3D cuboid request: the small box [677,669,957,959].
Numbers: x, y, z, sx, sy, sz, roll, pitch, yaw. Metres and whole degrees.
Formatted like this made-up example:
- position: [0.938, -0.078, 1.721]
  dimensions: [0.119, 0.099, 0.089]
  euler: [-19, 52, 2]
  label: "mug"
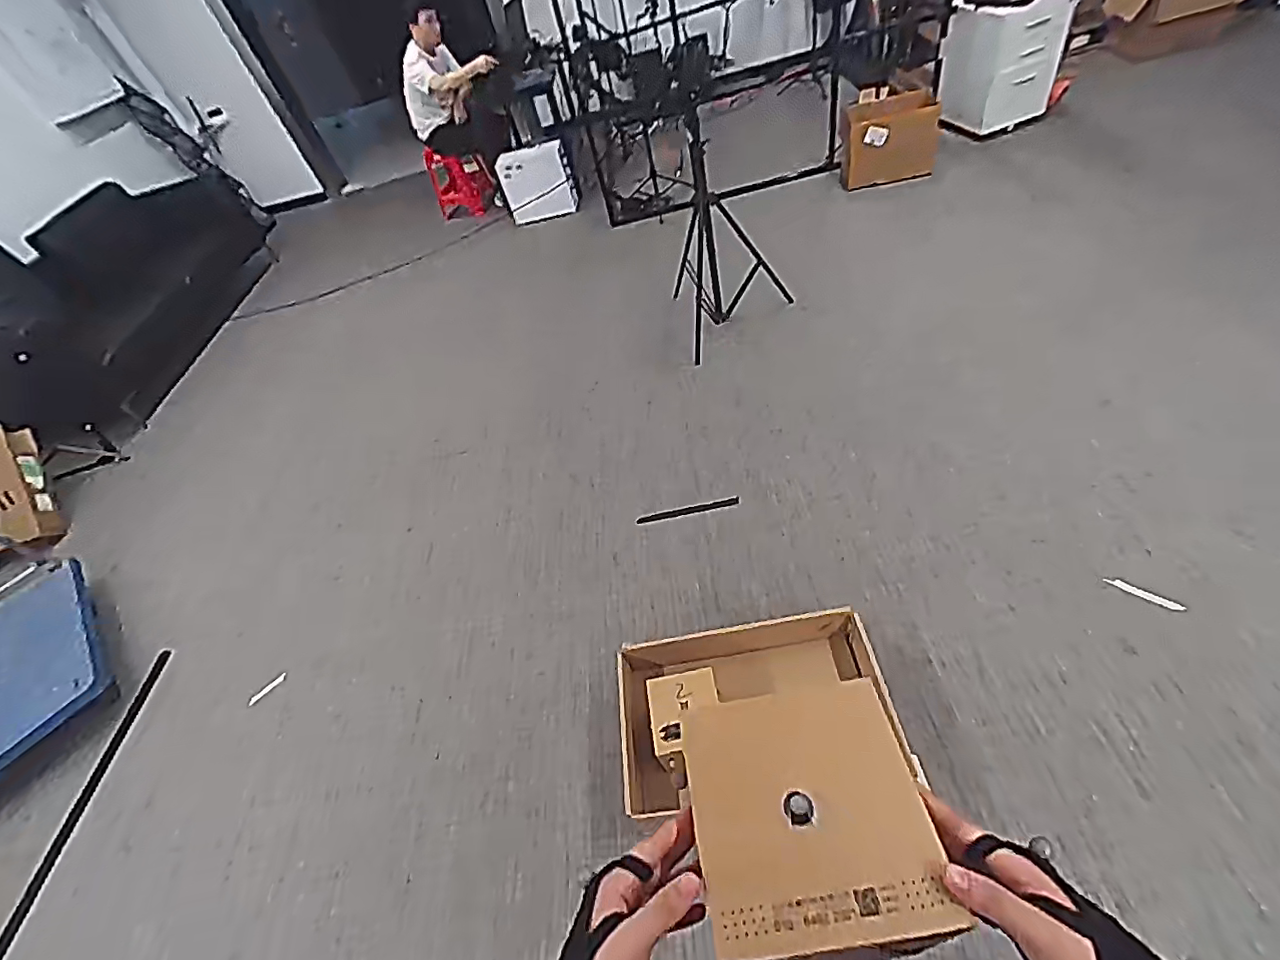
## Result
- position: [0.134, 0.289, 0.457]
  dimensions: [0.168, 0.179, 0.176]
  euler: [-11, 45, 3]
  label: "small box"
